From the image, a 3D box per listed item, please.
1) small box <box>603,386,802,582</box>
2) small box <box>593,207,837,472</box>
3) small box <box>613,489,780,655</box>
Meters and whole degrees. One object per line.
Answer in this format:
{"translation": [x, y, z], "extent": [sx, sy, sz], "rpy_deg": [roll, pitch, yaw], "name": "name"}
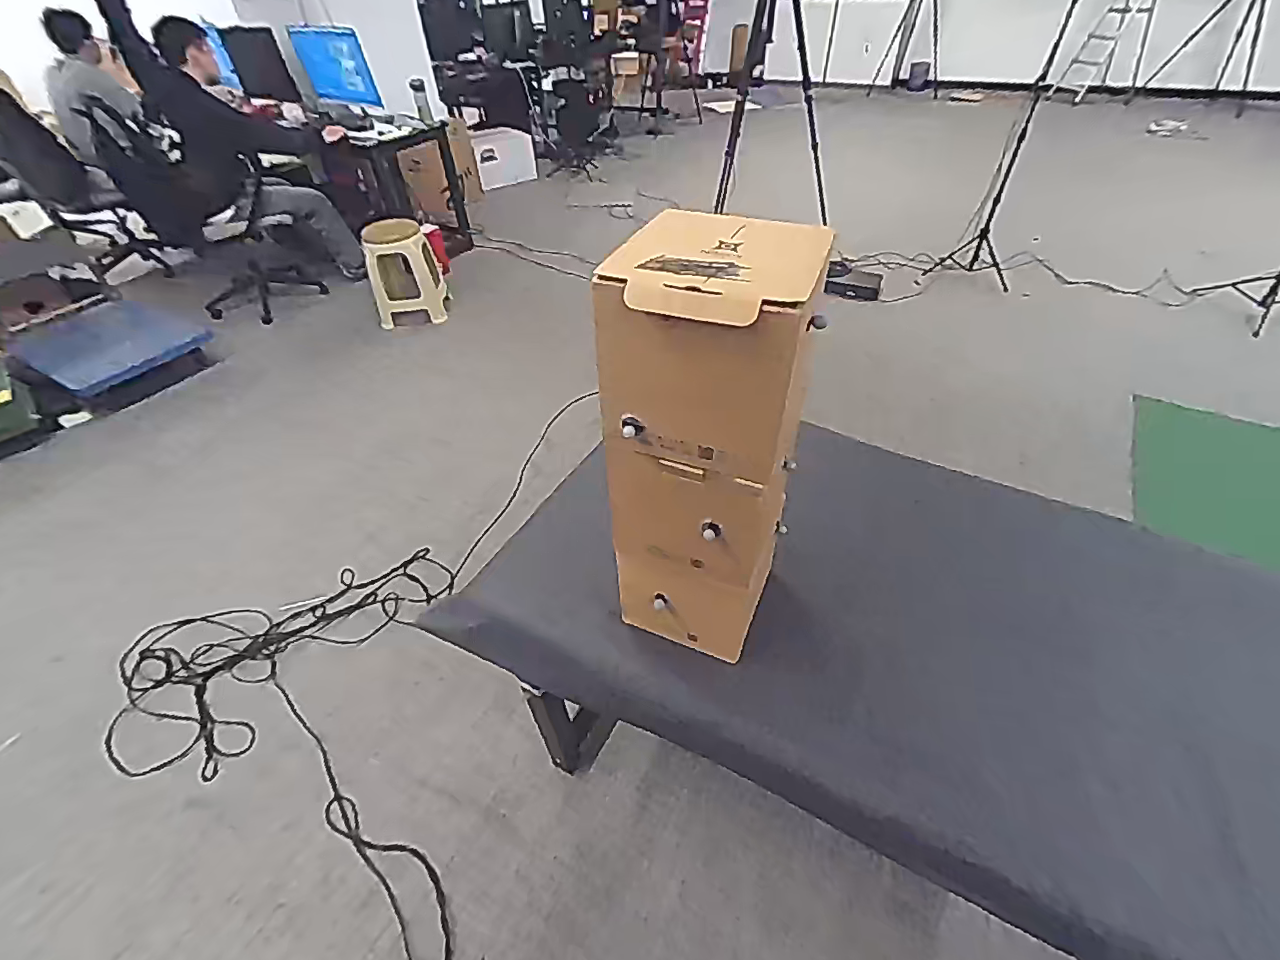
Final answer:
{"translation": [0.072, -0.013, 0.618], "extent": [0.168, 0.176, 0.179], "rpy_deg": [17, 45, 17], "name": "small box"}
{"translation": [0.071, -0.133, 0.506], "extent": [0.168, 0.176, 0.179], "rpy_deg": [16, 45, 16], "name": "small box"}
{"translation": [0.078, 0.104, 0.731], "extent": [0.168, 0.176, 0.179], "rpy_deg": [16, 46, 18], "name": "small box"}
